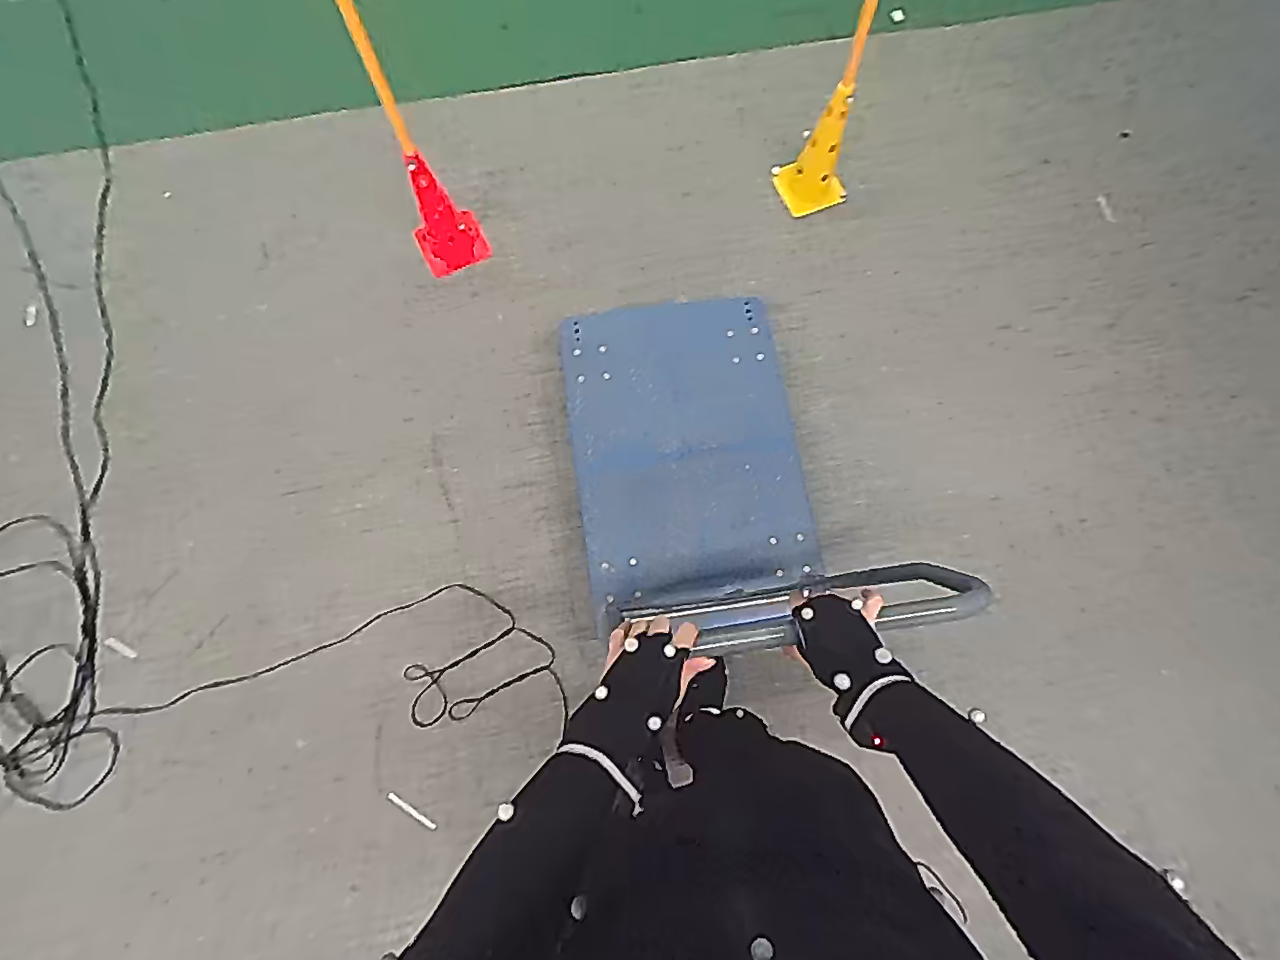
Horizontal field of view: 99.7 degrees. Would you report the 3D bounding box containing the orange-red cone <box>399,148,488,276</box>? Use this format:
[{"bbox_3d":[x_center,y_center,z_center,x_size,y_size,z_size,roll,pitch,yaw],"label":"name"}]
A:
[{"bbox_3d":[-0.605,-0.797,1.563,0.199,0.360,0.198,-26,77,-6],"label":"orange-red cone"}]
